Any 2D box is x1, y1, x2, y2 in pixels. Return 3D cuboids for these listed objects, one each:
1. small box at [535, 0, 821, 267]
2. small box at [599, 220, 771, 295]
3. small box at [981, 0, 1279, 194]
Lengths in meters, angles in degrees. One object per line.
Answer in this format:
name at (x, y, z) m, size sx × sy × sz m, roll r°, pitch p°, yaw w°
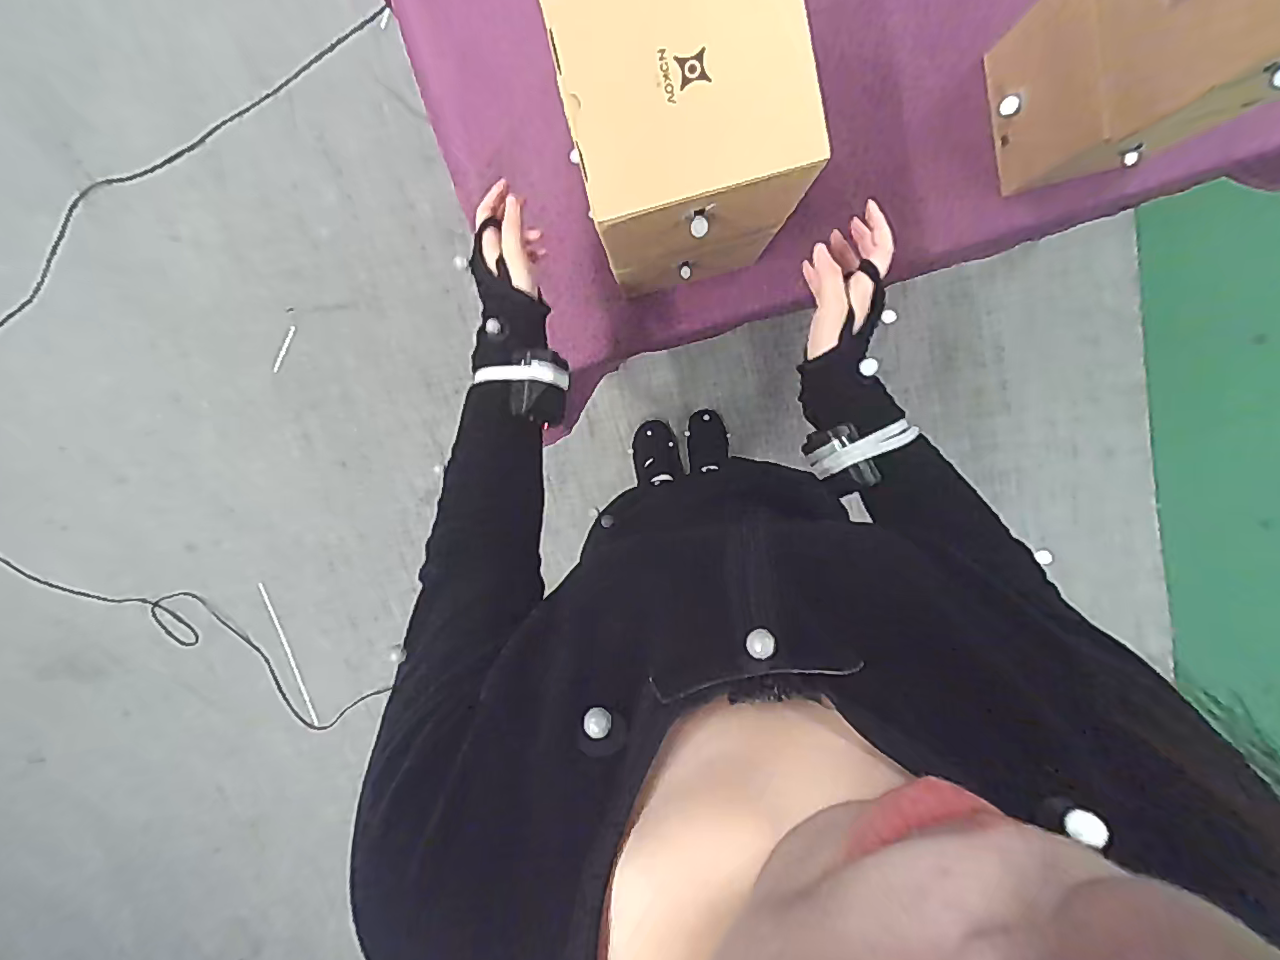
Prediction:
small box at (0.032, -0.299, 0.457) m, size 0.179 × 0.176 × 0.168 m, roll -13°, pitch 98°, yaw 6°
small box at (0.036, -0.324, 0.620) m, size 0.179 × 0.176 × 0.168 m, roll -13°, pitch 100°, yaw 5°
small box at (0.507, -0.436, 0.577) m, size 0.179 × 0.176 × 0.168 m, roll -13°, pitch 98°, yaw 6°
